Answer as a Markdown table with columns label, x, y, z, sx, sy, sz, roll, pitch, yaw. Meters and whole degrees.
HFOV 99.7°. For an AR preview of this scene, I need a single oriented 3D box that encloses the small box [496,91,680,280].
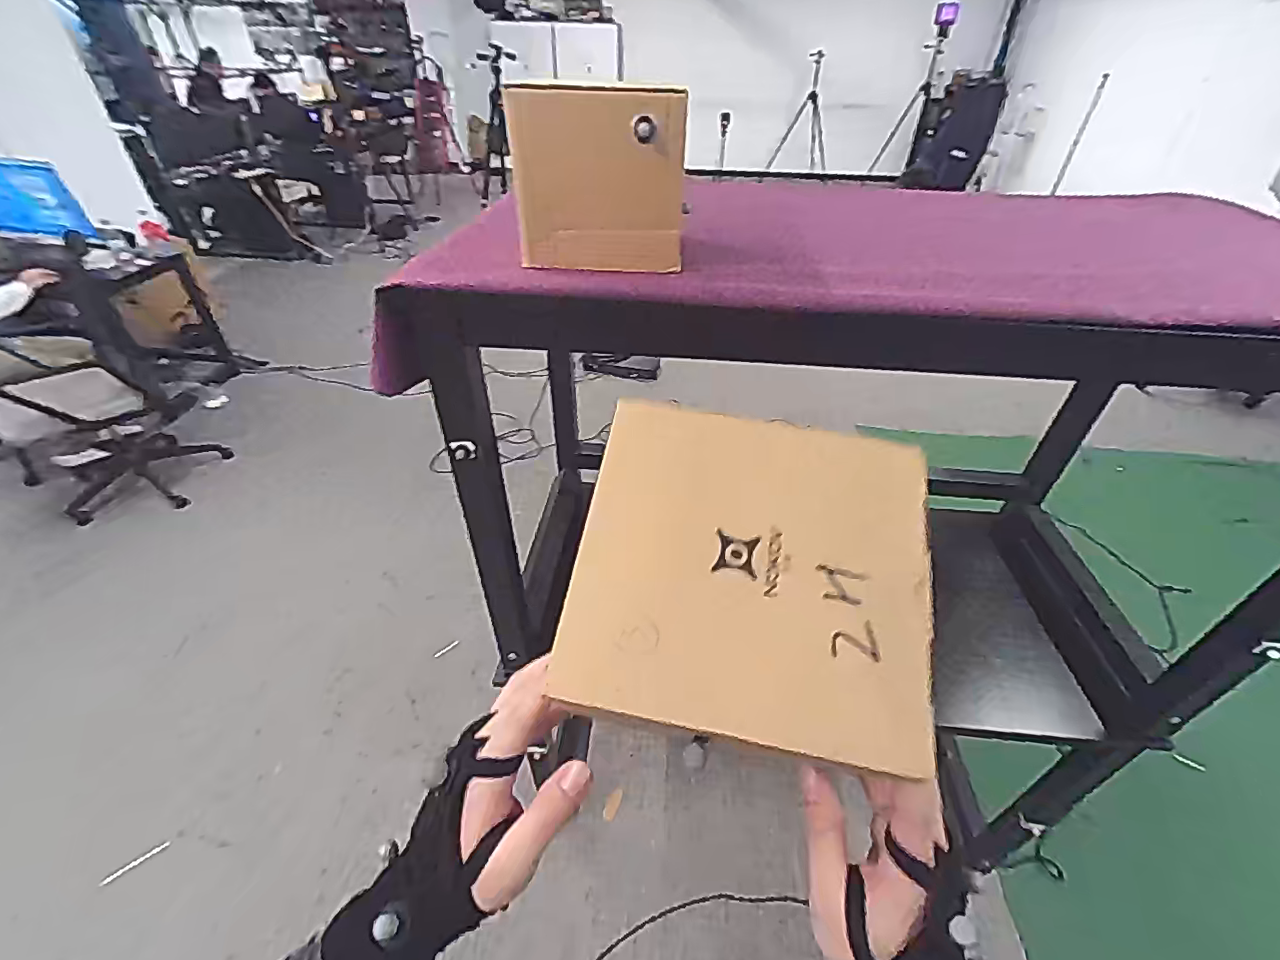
| label | x | y | z | sx | sy | sz | roll | pitch | yaw |
| --- | --- | --- | --- | --- | --- | --- | --- | --- | --- |
| small box | -0.045 | -0.335 | 0.612 | 0.179 | 0.176 | 0.168 | 2 | 38 | 2 |

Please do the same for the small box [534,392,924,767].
| label | x | y | z | sx | sy | sz | roll | pitch | yaw |
| --- | --- | --- | --- | --- | --- | --- | --- | --- | --- |
| small box | 0.054 | 0.070 | 0.342 | 0.179 | 0.176 | 0.168 | 10 | 66 | 6 |
